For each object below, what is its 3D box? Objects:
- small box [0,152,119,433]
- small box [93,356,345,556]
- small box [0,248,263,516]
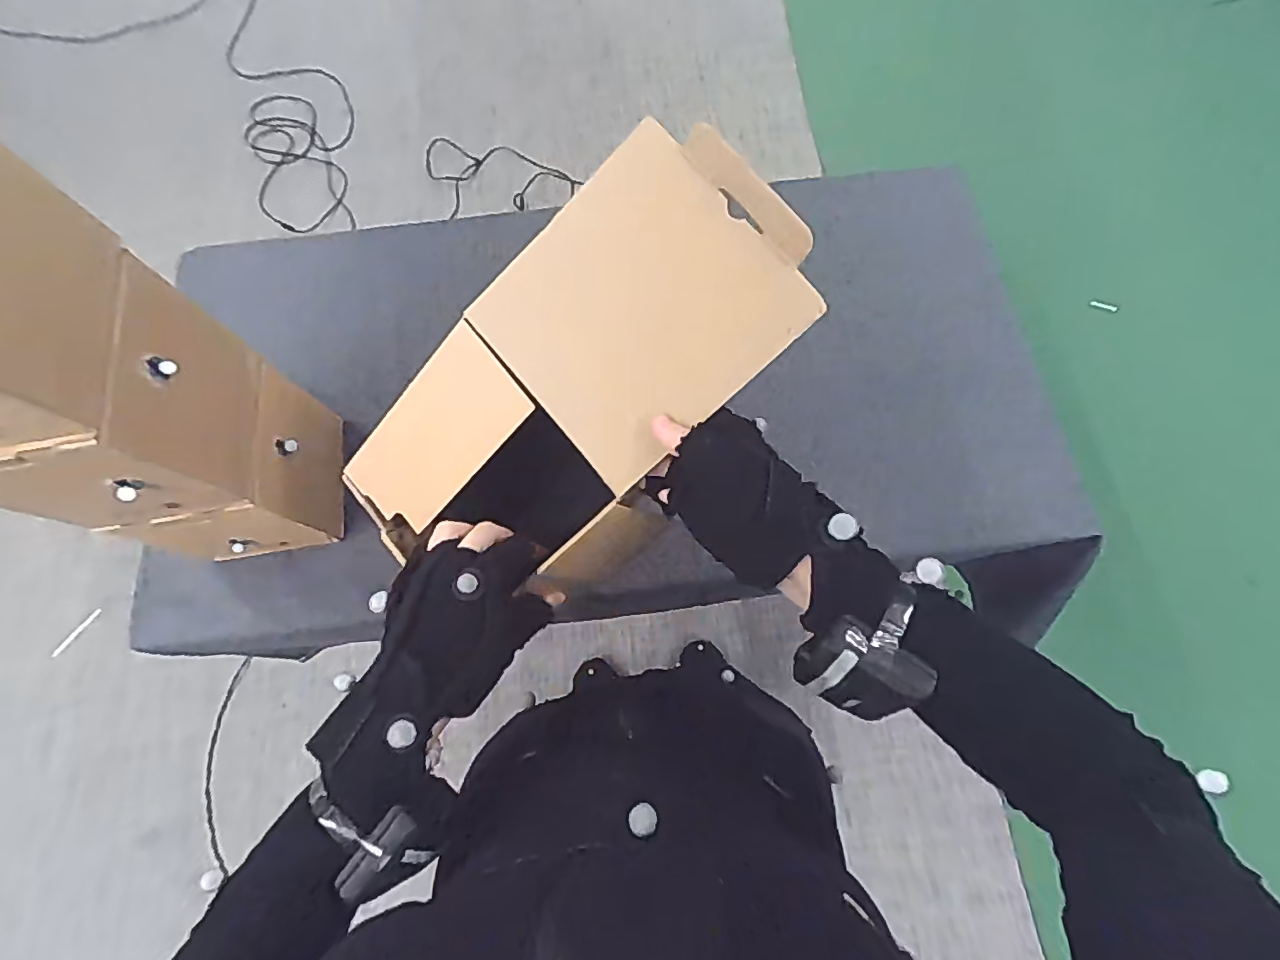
[{"bbox_3d":[-0.484,-0.130,0.335,0.168,0.176,0.179,-10,72,-3],"label":"small box"},{"bbox_3d":[-0.476,-0.020,0.643,0.168,0.176,0.179,-9,72,-2],"label":"small box"},{"bbox_3d":[-0.479,-0.072,0.489,0.168,0.176,0.179,-9,72,-2],"label":"small box"}]
